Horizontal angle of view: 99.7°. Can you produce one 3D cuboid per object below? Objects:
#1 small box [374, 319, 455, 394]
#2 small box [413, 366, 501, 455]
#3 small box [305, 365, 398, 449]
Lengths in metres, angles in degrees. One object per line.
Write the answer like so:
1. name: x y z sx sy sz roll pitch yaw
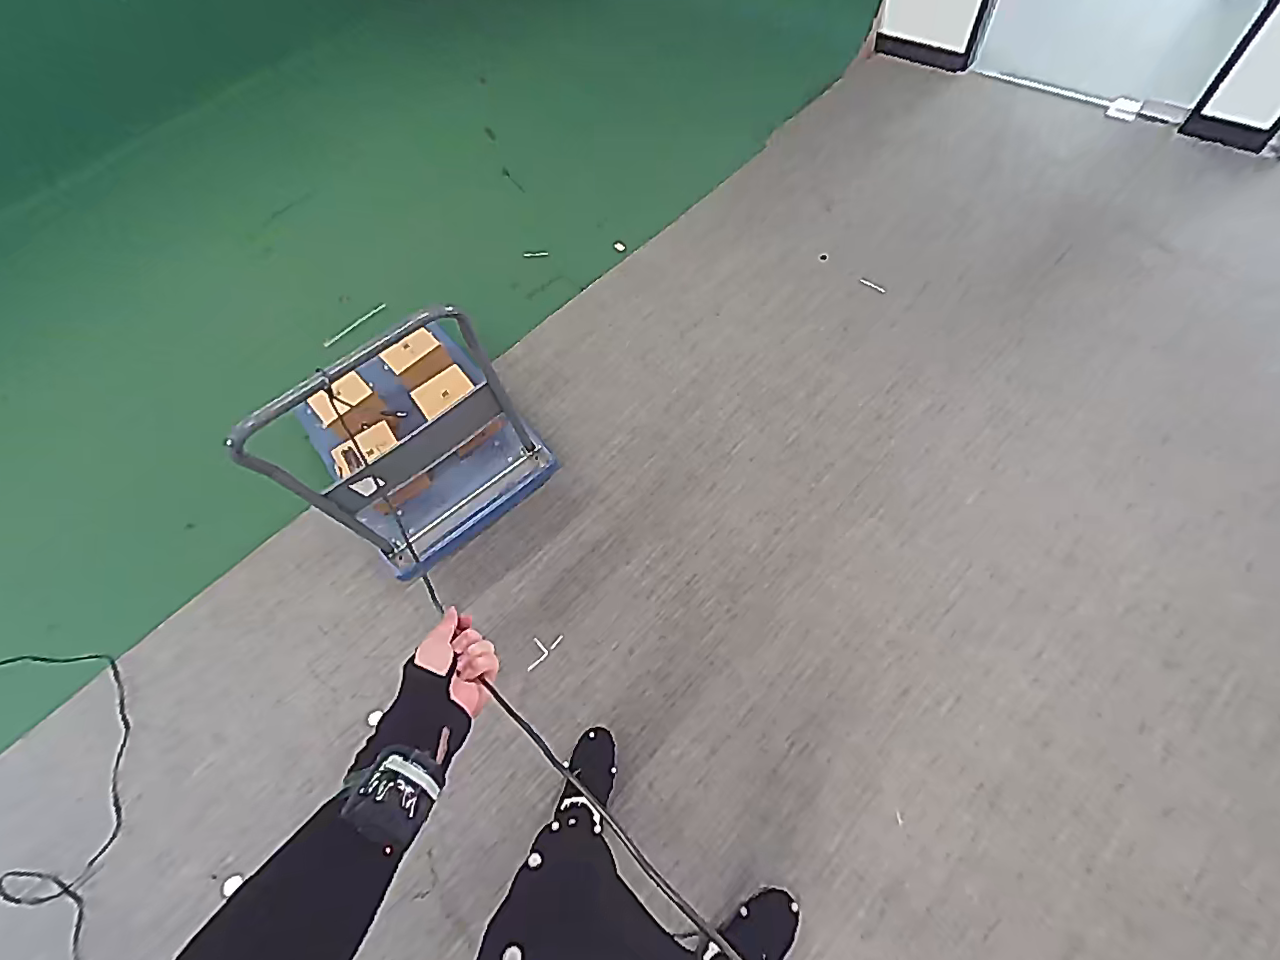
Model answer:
1. small box: -0.728 -0.386 1.782 0.168 0.176 0.179 -42 65 -13
2. small box: -0.559 -0.210 1.665 0.168 0.176 0.179 -37 64 -12
3. small box: -0.910 -0.223 1.722 0.168 0.176 0.179 -41 64 -14
